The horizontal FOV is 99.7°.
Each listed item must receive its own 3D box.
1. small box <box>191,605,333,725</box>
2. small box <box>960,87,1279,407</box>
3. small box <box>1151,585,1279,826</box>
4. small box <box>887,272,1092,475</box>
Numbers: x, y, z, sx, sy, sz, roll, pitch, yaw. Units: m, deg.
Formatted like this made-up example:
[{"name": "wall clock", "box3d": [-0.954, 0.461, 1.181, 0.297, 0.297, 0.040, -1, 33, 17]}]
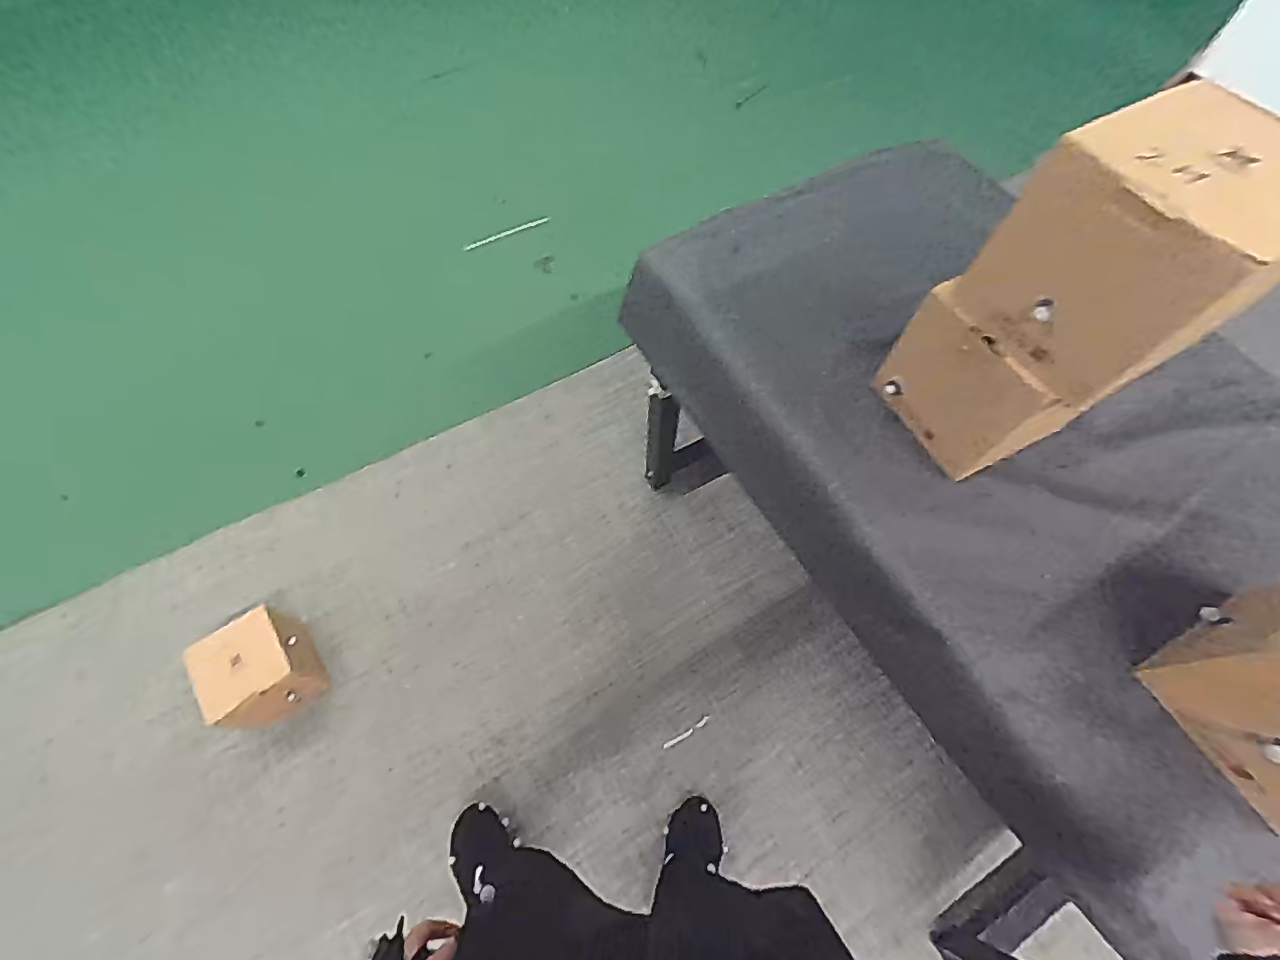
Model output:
[{"name": "small box", "box3d": [-0.800, 0.403, 1.162, 0.168, 0.176, 0.179, -33, 67, -17]}, {"name": "small box", "box3d": [0.436, -0.197, 0.478, 0.179, 0.176, 0.168, -26, 66, -14]}, {"name": "small box", "box3d": [0.614, 0.188, 0.467, 0.179, 0.176, 0.168, -25, 66, -12]}, {"name": "small box", "box3d": [0.419, -0.131, 0.629, 0.179, 0.176, 0.168, -23, 66, -13]}]
